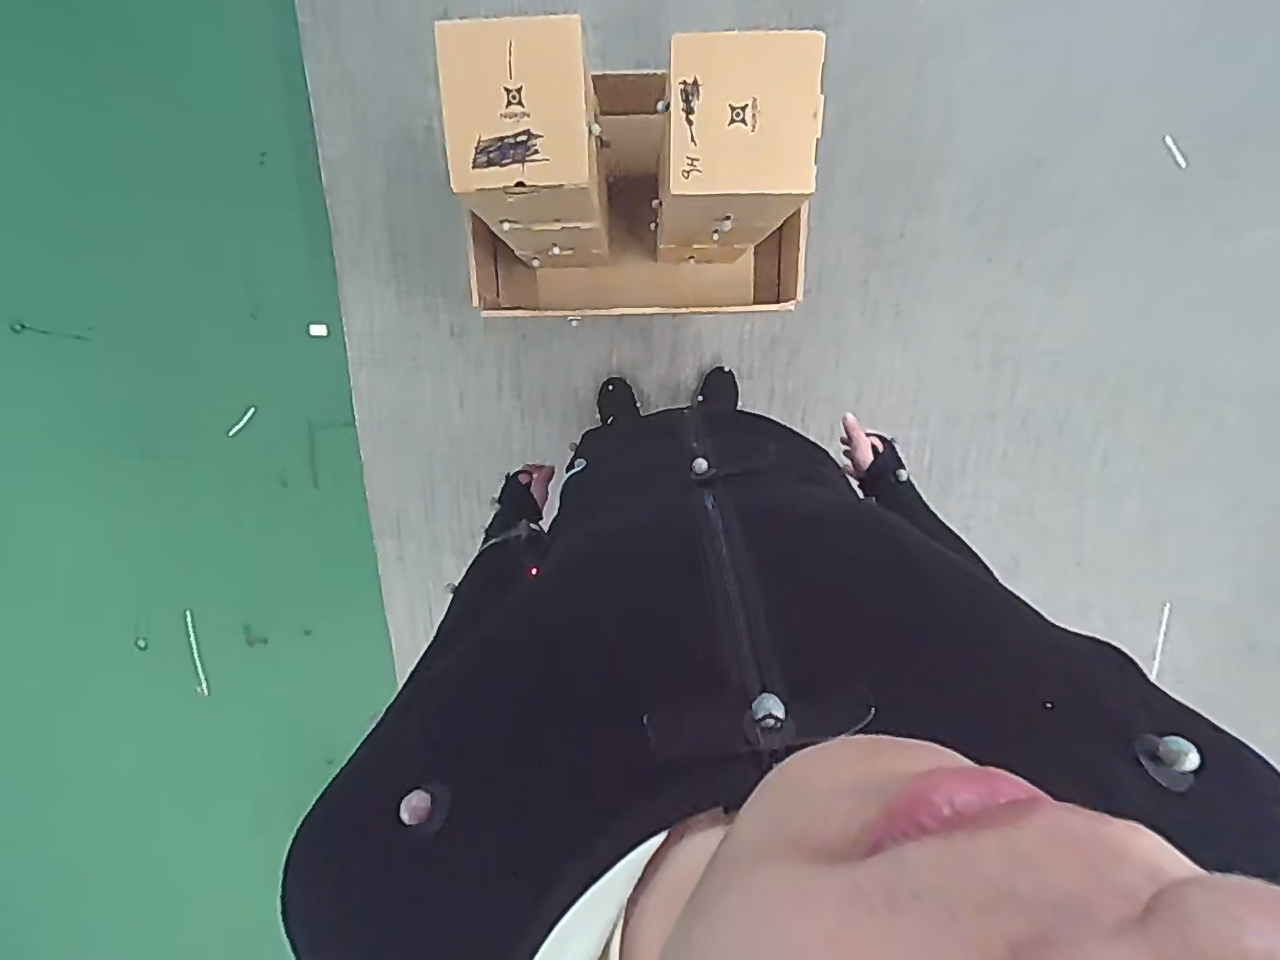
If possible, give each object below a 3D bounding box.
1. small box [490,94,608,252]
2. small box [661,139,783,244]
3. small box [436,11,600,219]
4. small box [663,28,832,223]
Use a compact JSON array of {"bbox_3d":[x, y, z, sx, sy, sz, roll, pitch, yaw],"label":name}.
[{"bbox_3d":[-0.137,-0.470,0.848,0.168,0.176,0.179,0,102,0],"label":"small box"},{"bbox_3d":[0.124,-0.475,0.852,0.179,0.176,0.168,0,104,-1],"label":"small box"},{"bbox_3d":[-0.140,-0.441,0.686,0.168,0.176,0.179,-3,102,0],"label":"small box"},{"bbox_3d":[0.124,-0.436,0.693,0.179,0.176,0.168,0,104,-1],"label":"small box"}]
